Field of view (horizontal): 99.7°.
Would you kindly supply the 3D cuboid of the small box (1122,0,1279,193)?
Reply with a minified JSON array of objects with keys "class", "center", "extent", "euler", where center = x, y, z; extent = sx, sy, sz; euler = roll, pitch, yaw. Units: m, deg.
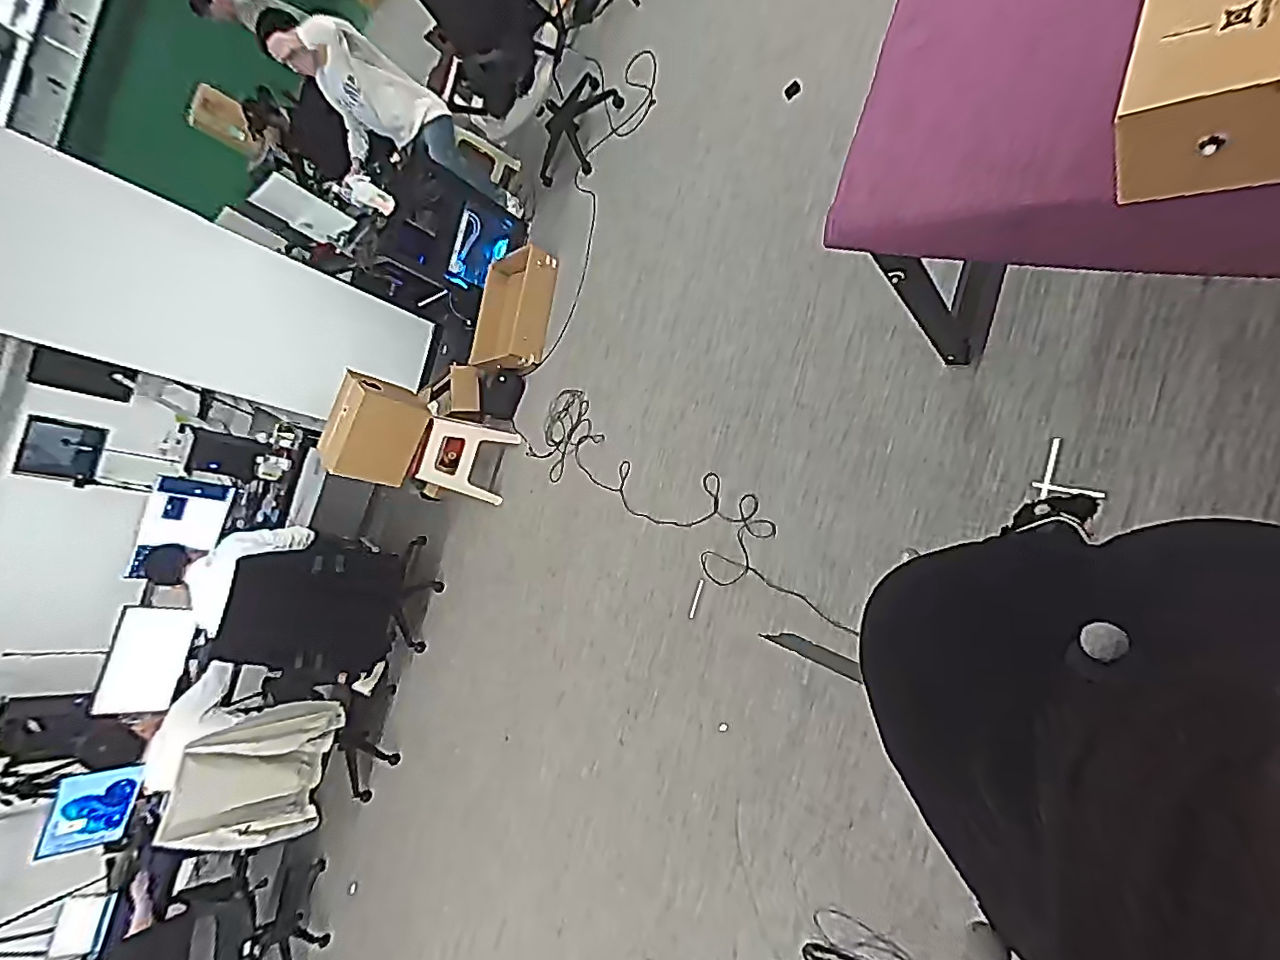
[{"class":"small box","center":[0.652,-0.443,0.577],"extent":[0.179,0.176,0.168],"euler":[14,87,46]}]
